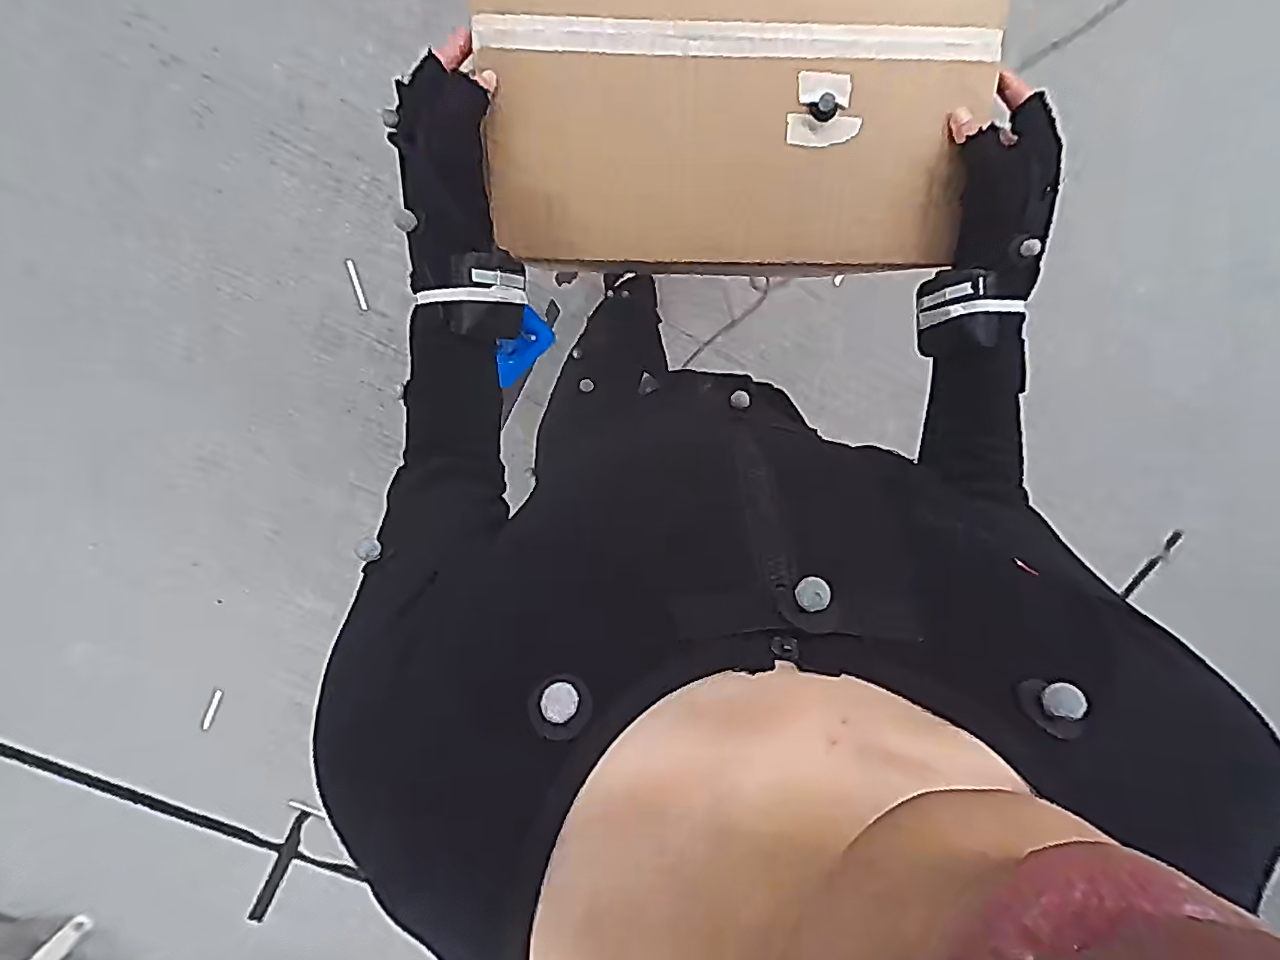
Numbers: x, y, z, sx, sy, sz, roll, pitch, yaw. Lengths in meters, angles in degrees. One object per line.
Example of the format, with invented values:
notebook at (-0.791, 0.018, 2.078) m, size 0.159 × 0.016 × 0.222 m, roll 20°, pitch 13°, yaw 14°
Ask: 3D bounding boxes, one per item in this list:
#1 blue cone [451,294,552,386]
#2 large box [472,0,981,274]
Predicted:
blue cone at (-0.345, -0.322, 1.238) m, size 0.192 × 0.380 × 0.193 m, roll -40°, pitch 101°, yaw 9°
large box at (0.062, -0.393, 0.568) m, size 0.408 × 0.320 × 0.320 m, roll -1°, pitch 109°, yaw -2°
